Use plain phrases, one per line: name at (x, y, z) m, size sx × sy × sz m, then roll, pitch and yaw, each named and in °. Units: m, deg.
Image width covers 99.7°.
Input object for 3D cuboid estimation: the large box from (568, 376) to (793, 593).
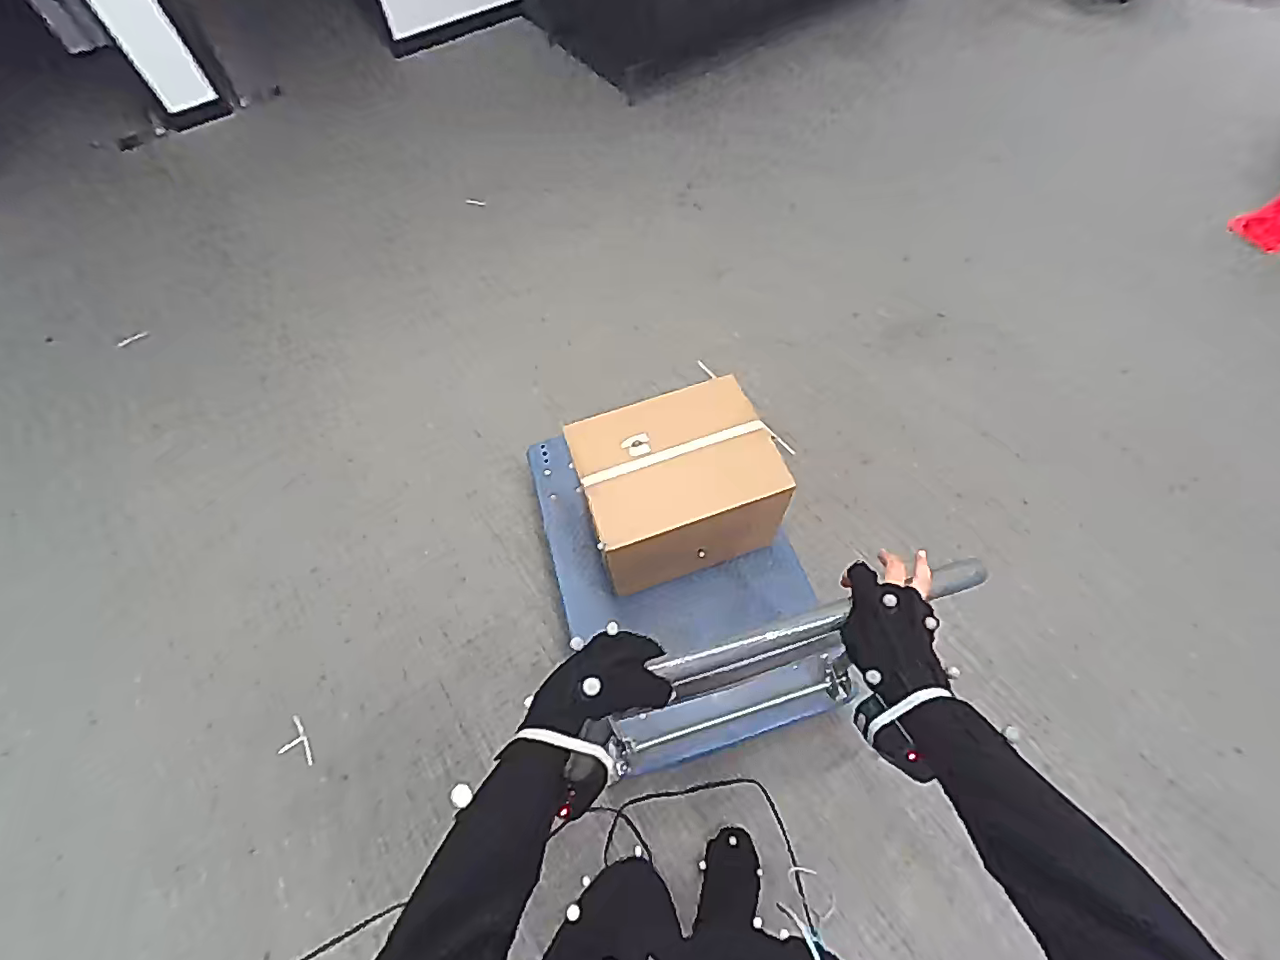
large box at (0.085, 0.021, 1.263) m, size 0.408 × 0.320 × 0.320 m, roll -19°, pitch 61°, yaw -7°
